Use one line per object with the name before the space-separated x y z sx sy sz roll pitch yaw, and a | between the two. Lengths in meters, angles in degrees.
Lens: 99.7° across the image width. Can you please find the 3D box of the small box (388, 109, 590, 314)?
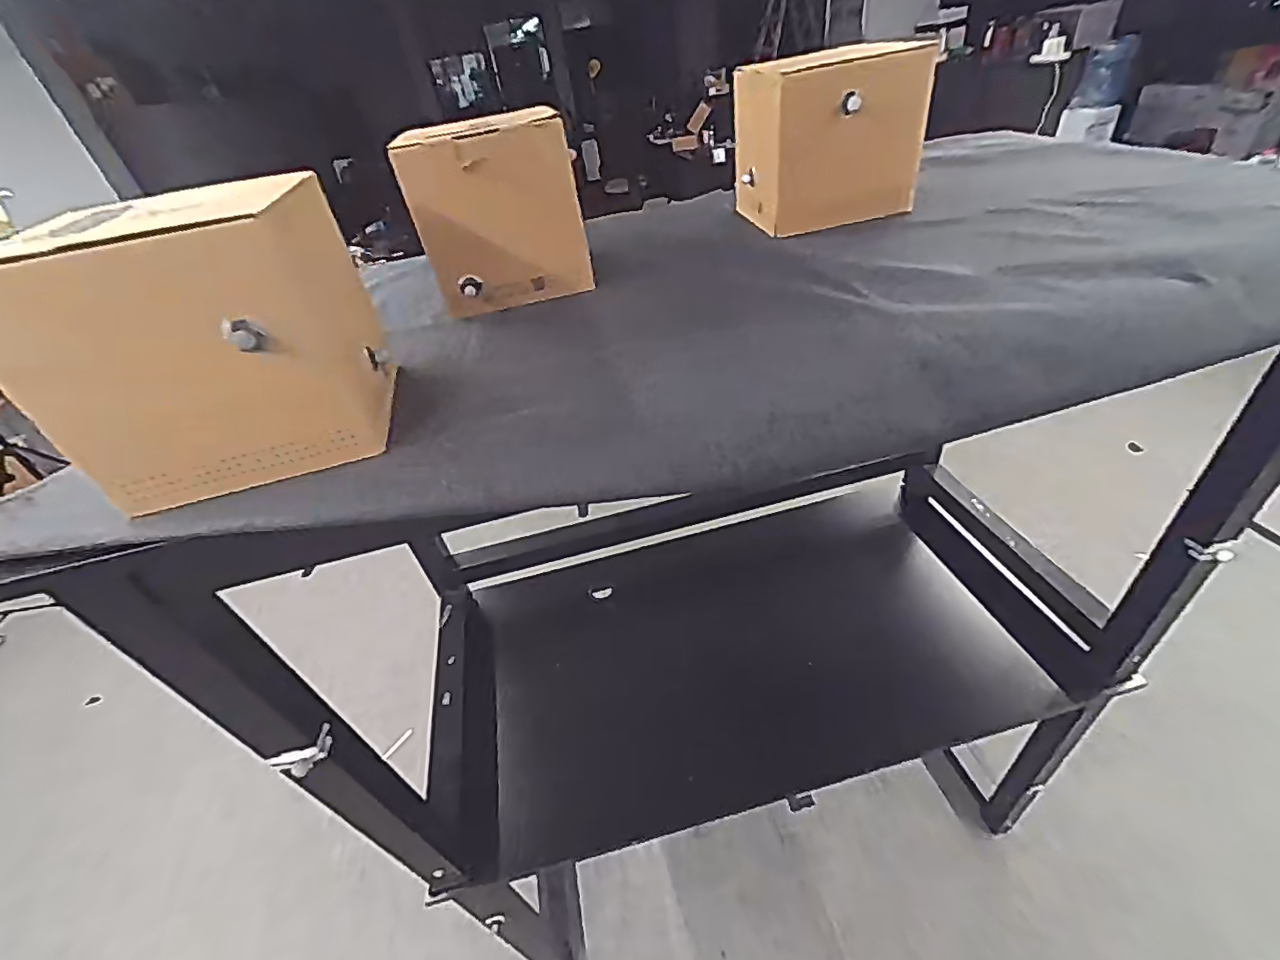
small box | -0.160 -0.304 0.619 0.168 0.176 0.179 -14 38 -5

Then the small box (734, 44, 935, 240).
small box | 0.224 -0.419 0.671 0.179 0.176 0.168 -13 38 -1
